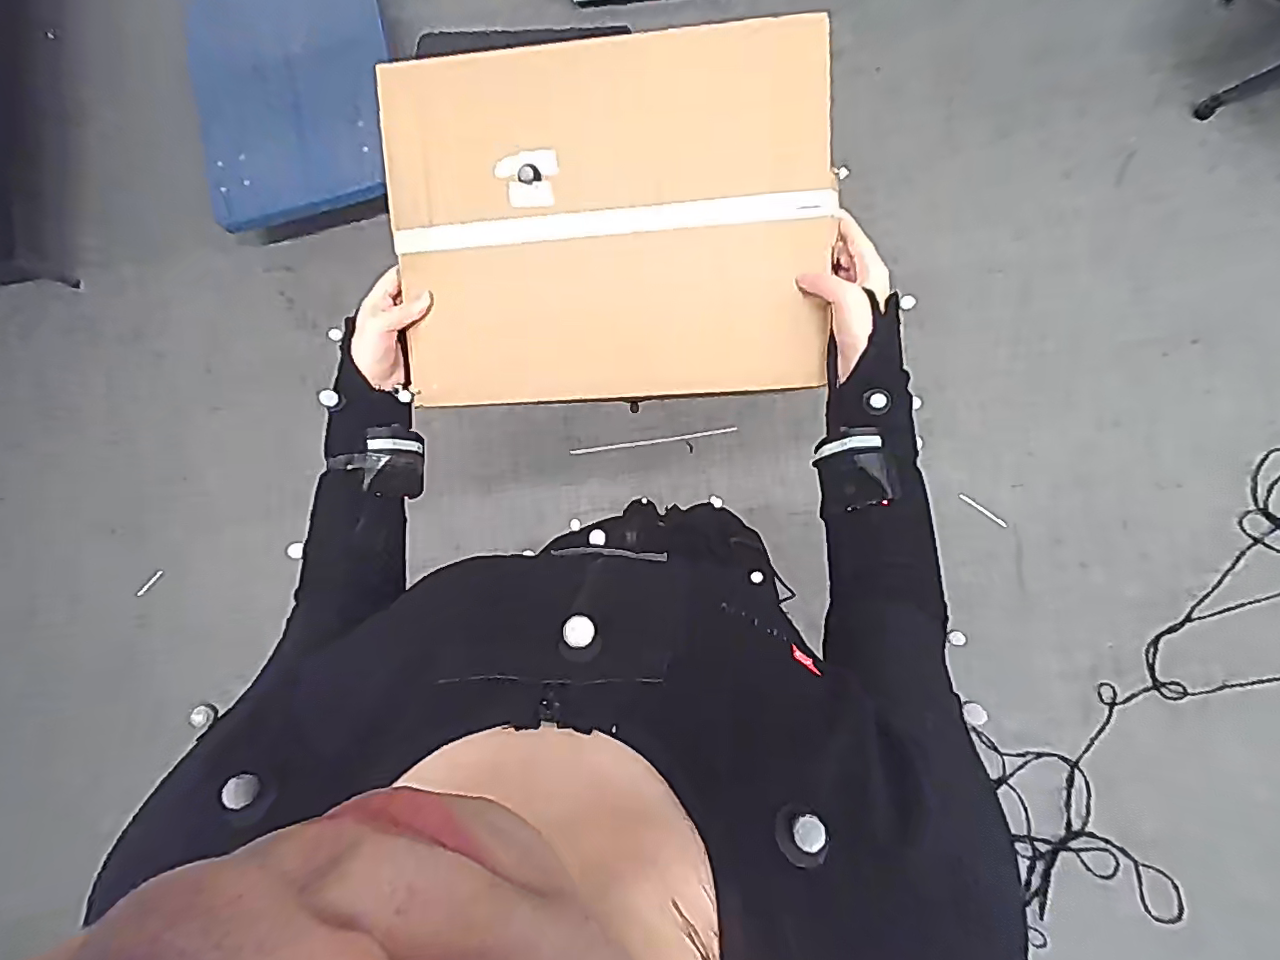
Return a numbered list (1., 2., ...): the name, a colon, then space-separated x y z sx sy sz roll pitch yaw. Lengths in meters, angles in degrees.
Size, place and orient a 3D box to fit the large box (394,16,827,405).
1. large box: -0.010 -0.262 0.657 0.408 0.320 0.320 -2 98 8
